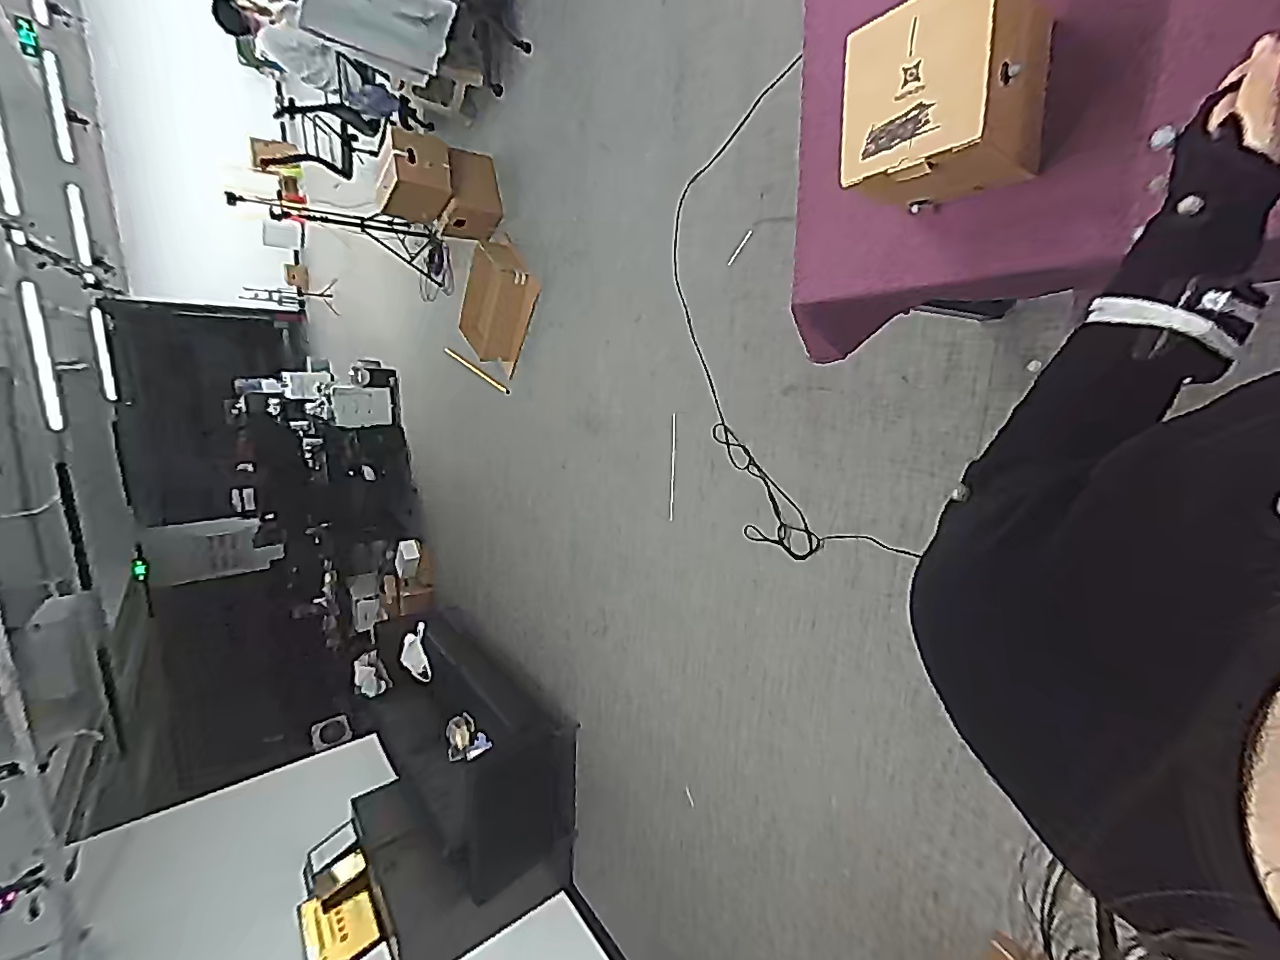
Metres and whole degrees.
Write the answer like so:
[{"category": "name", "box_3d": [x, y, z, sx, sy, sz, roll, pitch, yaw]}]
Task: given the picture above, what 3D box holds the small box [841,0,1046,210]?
[{"category": "small box", "box_3d": [0.372, -0.451, 0.667, 0.168, 0.176, 0.179, 11, 104, 51]}]
